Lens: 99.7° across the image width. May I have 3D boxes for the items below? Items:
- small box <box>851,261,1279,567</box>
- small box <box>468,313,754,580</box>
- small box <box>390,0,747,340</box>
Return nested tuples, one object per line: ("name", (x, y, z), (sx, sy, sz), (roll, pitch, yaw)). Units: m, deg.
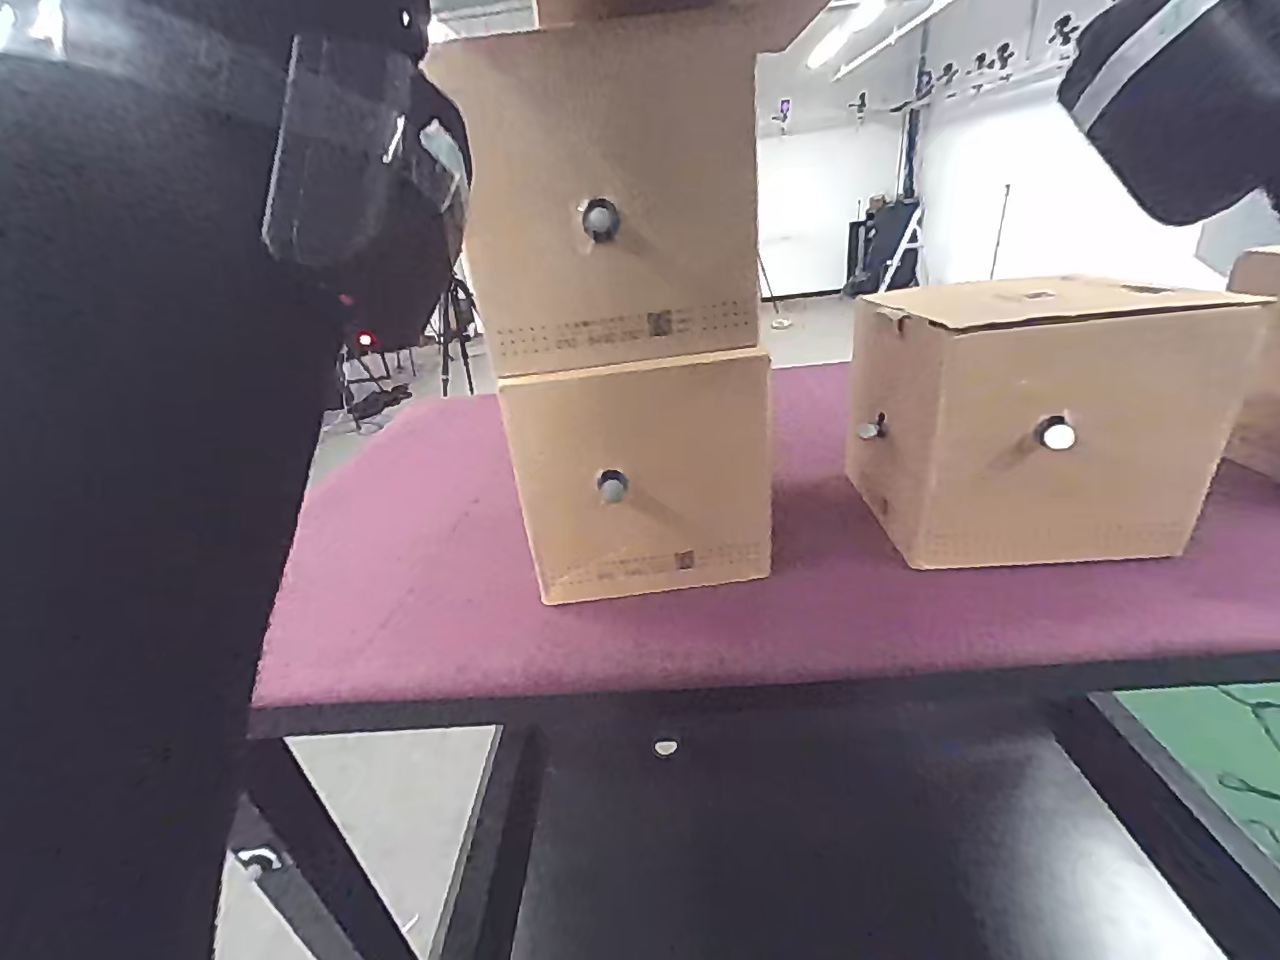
("small box", (0.259, -0.051, 0.384), (0.179, 0.176, 0.168), (-4, 27, 6))
("small box", (-0.011, -0.038, 0.409), (0.168, 0.176, 0.179), (-6, 26, 0))
("small box", (-0.028, -0.190, 0.348), (0.168, 0.176, 0.179), (-5, 26, 0))
